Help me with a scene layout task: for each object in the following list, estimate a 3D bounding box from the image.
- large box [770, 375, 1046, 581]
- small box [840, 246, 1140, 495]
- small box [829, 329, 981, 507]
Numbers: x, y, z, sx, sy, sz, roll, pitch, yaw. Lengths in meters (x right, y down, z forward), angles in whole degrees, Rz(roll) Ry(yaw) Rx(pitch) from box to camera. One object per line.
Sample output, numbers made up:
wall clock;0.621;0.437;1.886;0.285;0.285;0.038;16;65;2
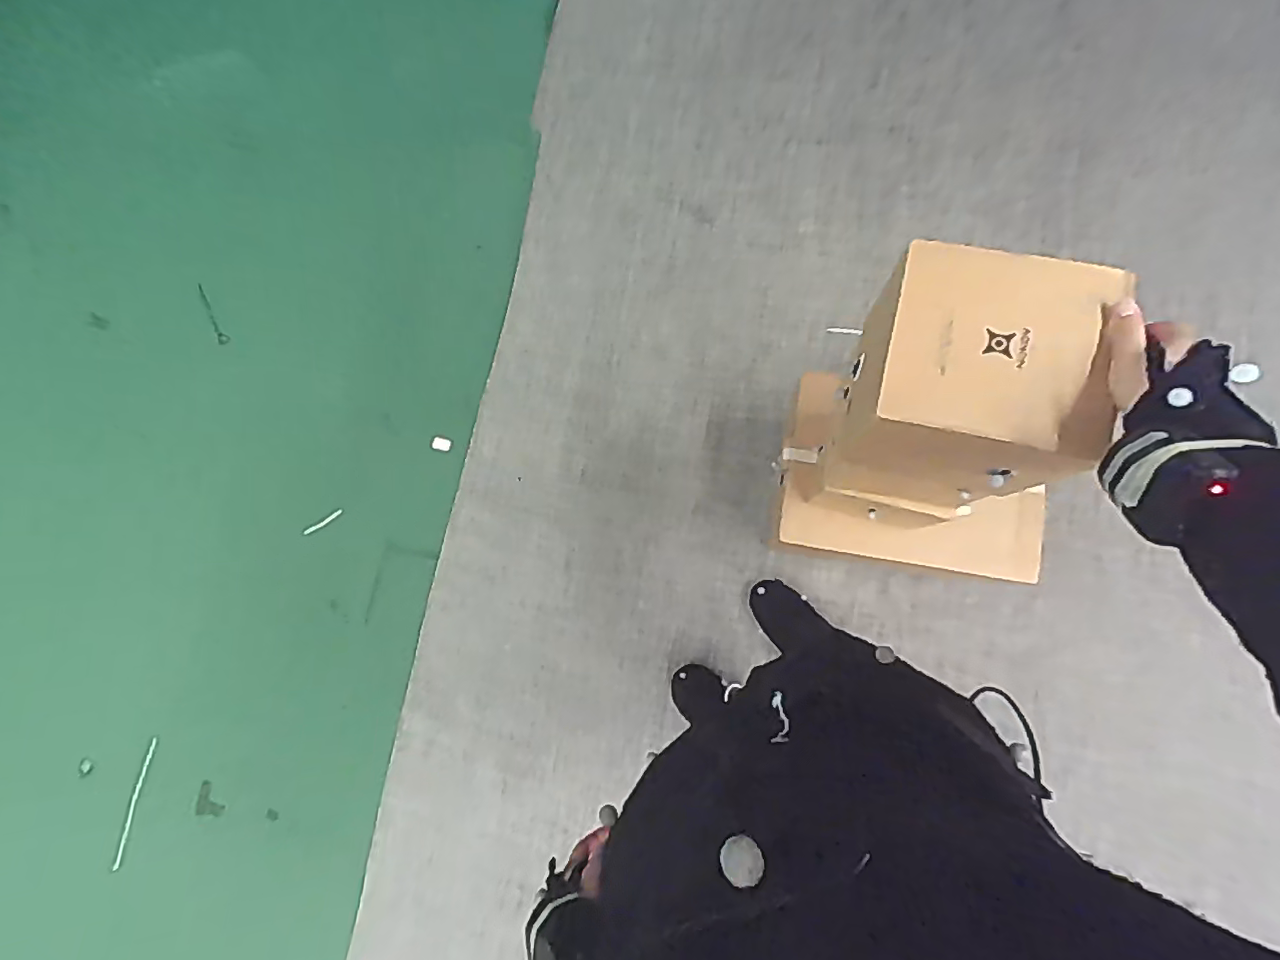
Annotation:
large box;0.483;0.011;1.053;0.408;0.320;0.320;9;83;10
small box;0.309;-0.090;0.514;0.179;0.176;0.168;13;81;12
small box;0.345;-0.068;0.671;0.179;0.176;0.168;10;81;11
